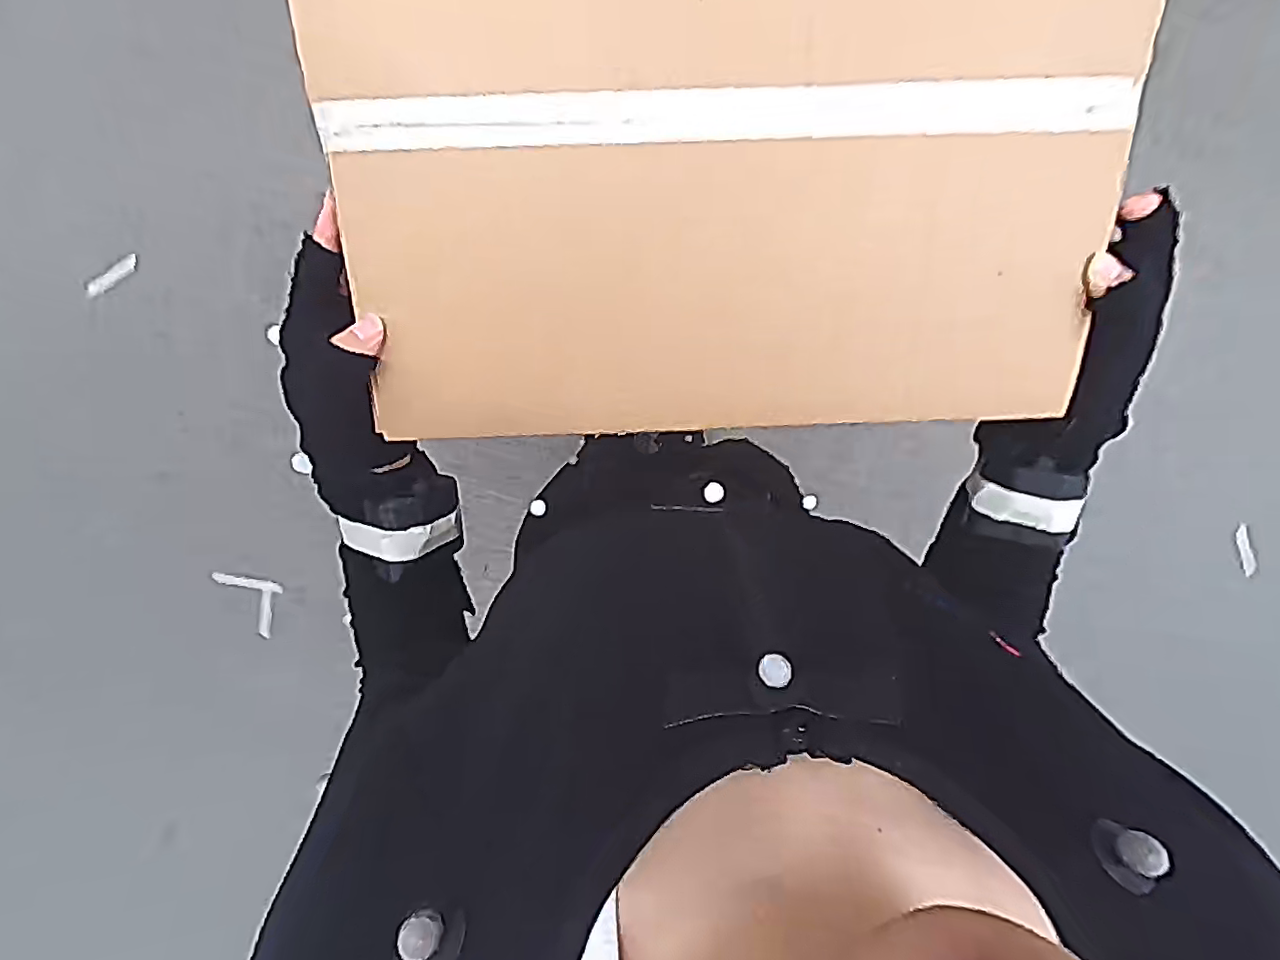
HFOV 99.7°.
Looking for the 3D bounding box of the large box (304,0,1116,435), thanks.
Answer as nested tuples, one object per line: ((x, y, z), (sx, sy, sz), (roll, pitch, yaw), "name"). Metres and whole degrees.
((0.032, -0.233, 0.422), (0.408, 0.320, 0.320), (-3, 110, -1), "large box")
